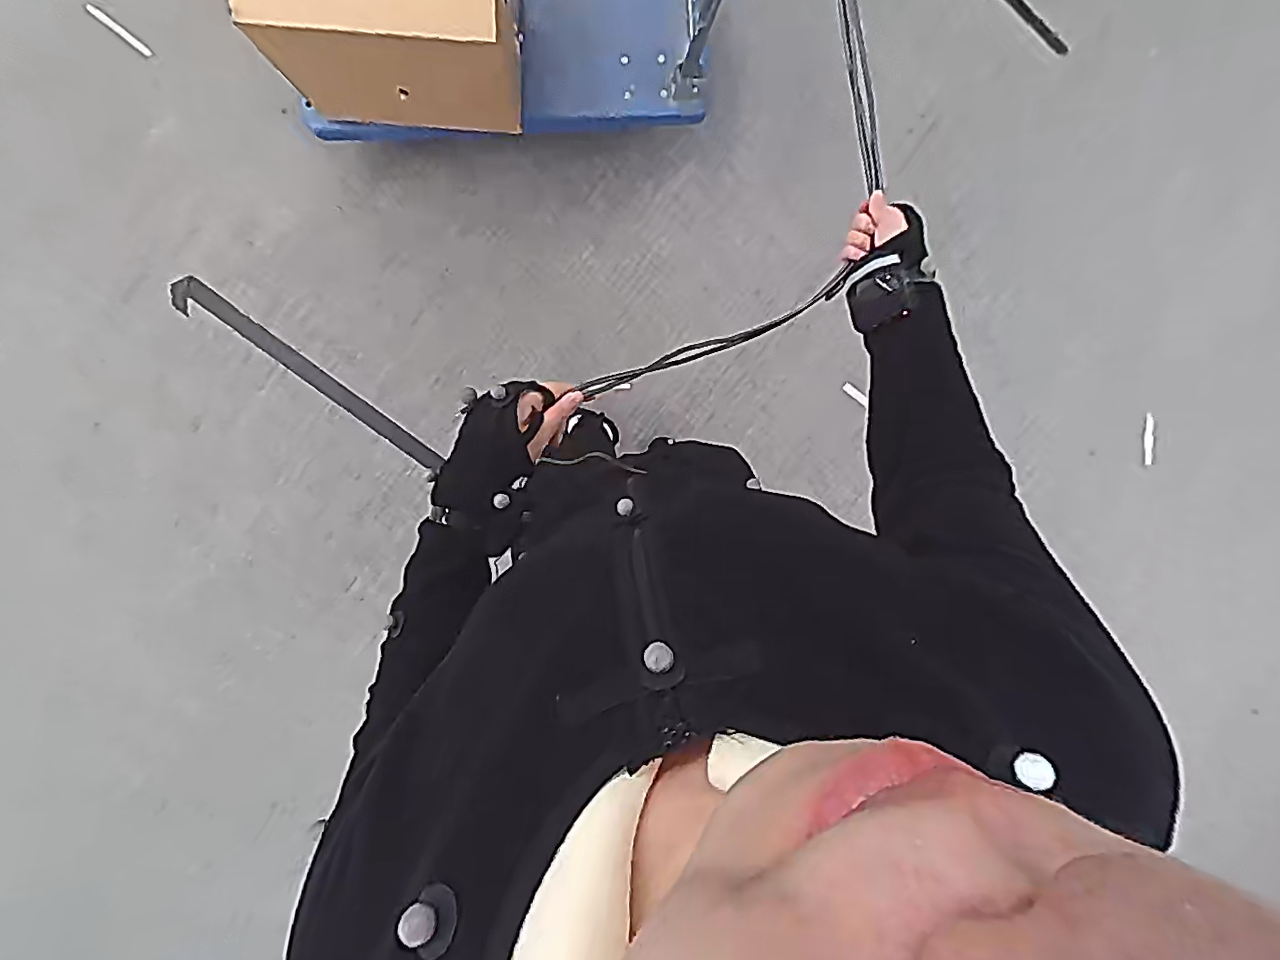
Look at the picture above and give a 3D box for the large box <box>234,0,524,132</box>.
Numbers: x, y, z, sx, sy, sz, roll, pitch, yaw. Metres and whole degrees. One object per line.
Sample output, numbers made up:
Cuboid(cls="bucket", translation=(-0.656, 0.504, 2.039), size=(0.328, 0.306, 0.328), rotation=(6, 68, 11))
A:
Cuboid(cls="large box", translation=(-0.434, -0.865, 0.971), size=(0.408, 0.320, 0.320), rotation=(0, 98, -5))
